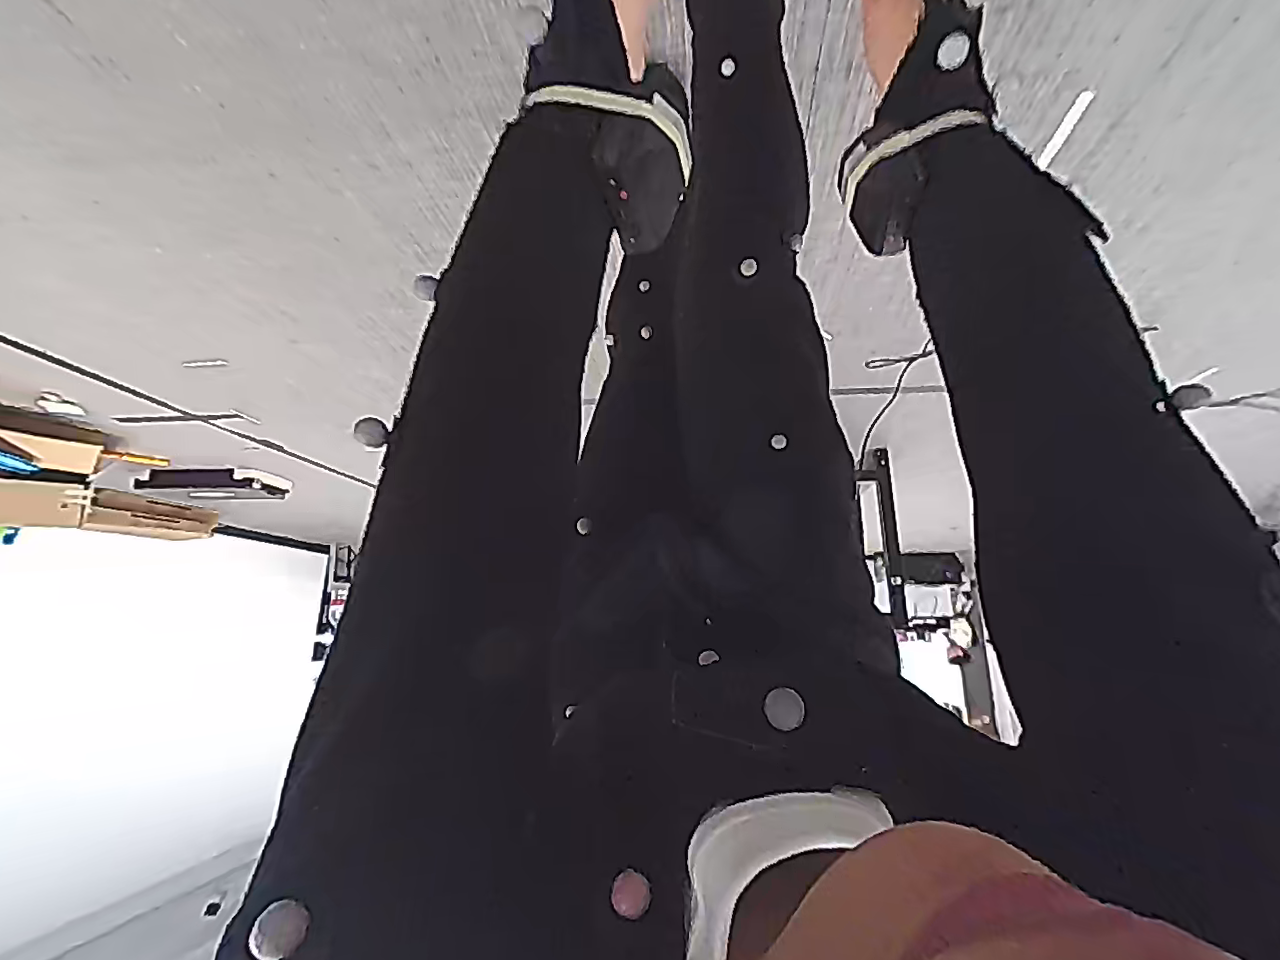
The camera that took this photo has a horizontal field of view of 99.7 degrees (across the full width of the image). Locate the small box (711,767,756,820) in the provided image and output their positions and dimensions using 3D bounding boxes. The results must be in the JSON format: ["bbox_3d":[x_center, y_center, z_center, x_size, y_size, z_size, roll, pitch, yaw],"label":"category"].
[{"bbox_3d":[0.404,1.364,2.362,0.179,0.176,0.168,-2,165,3],"label":"small box"}]
